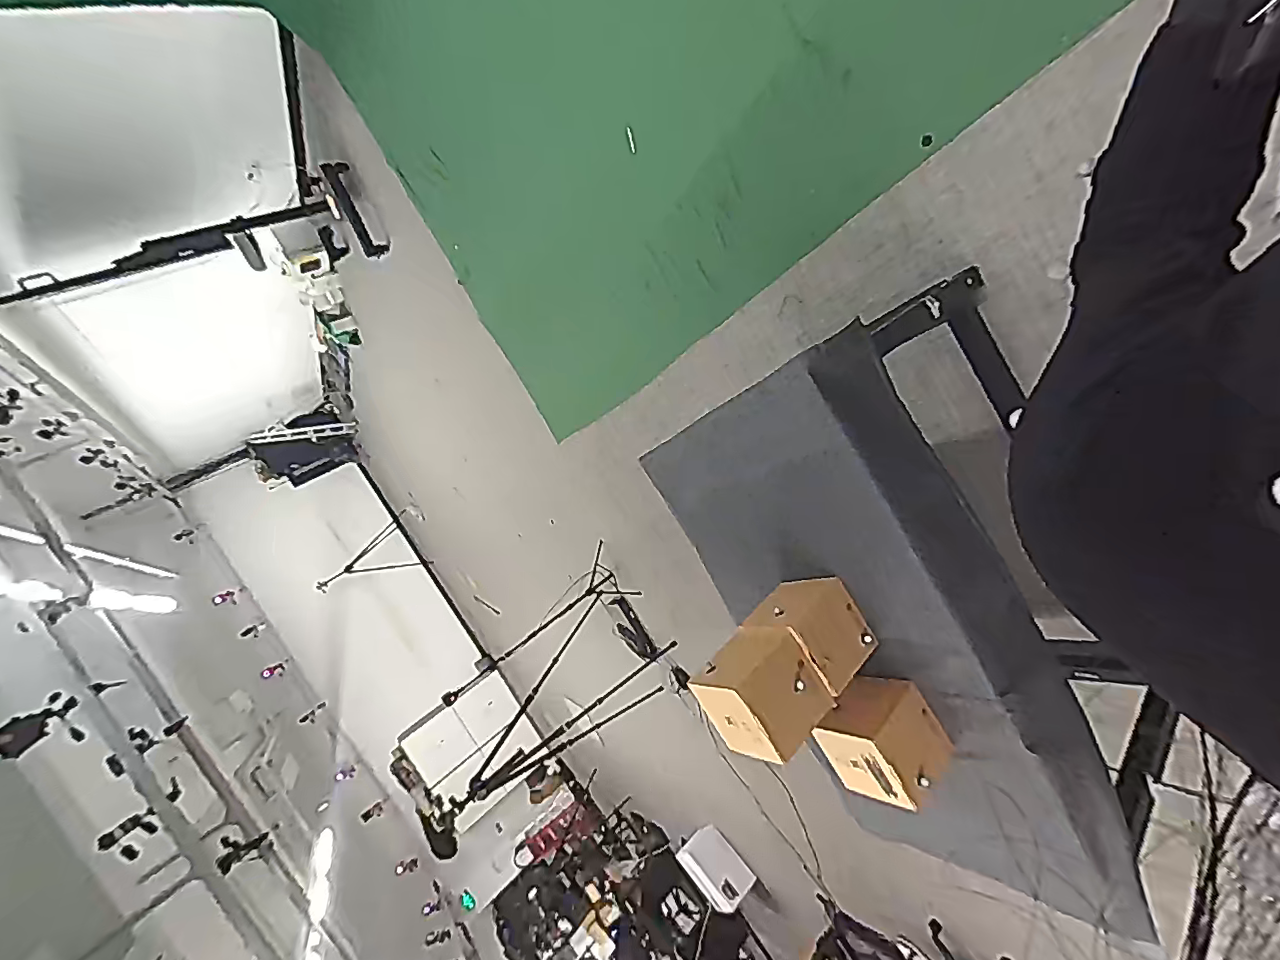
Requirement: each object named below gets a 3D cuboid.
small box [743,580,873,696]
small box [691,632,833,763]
[{"bbox_3d":[0.360,0.325,1.138,0.168,0.176,0.179,59,150,-2],"label":"small box"},{"bbox_3d":[0.241,0.417,1.069,0.168,0.176,0.179,57,149,-1],"label":"small box"}]
